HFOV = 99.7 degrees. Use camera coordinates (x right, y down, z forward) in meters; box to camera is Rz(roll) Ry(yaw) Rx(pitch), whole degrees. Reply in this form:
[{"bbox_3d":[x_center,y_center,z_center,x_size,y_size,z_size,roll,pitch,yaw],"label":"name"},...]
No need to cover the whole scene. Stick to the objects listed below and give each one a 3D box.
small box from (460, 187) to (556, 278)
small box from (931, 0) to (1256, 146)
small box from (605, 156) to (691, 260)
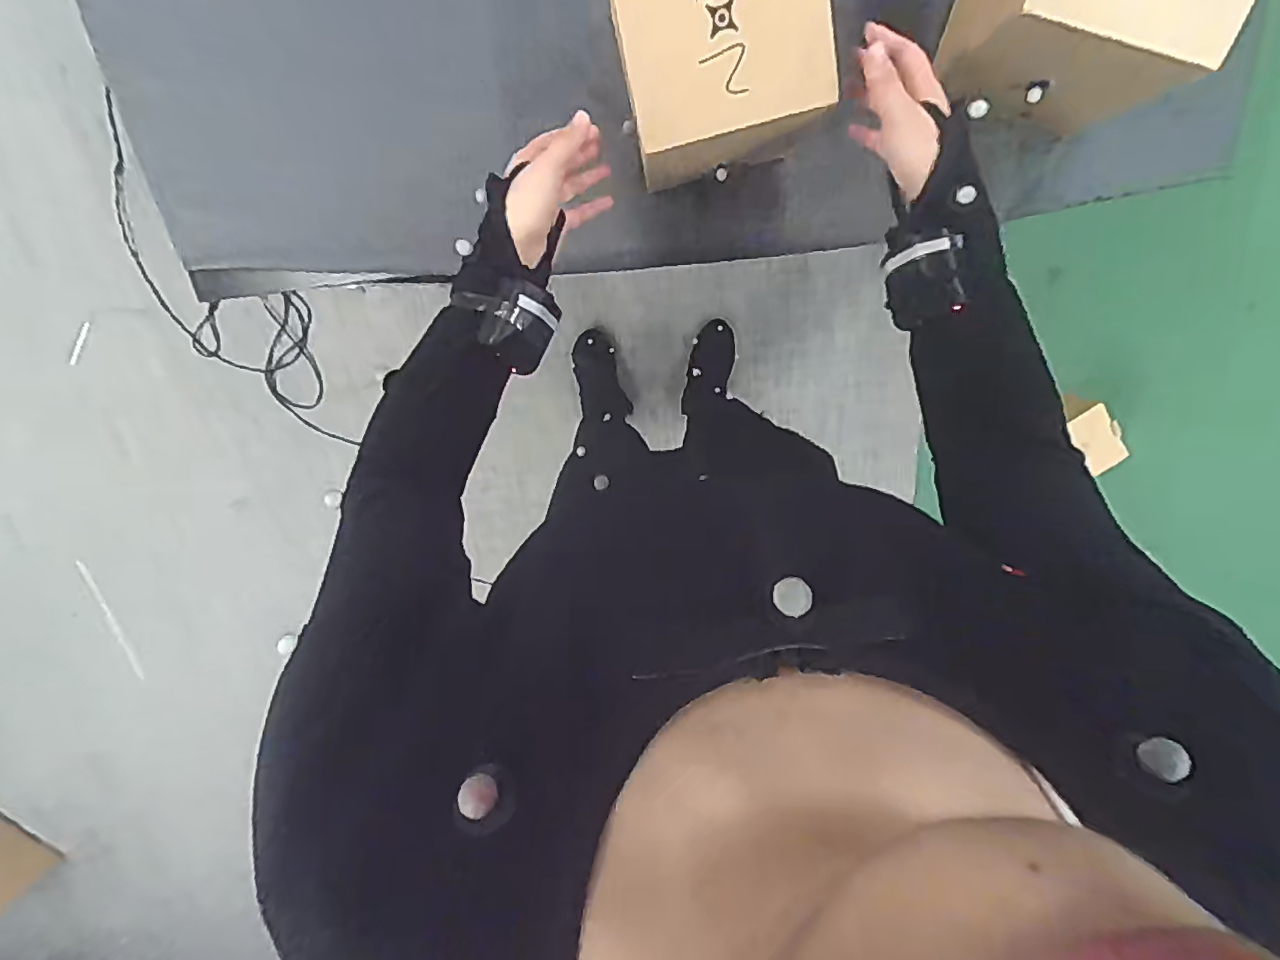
[{"bbox_3d":[-0.291,-0.555,1.232,0.168,0.176,0.179,-1,109,3],"label":"small box"},{"bbox_3d":[0.389,-0.423,0.469,0.168,0.176,0.179,15,107,-3],"label":"small box"},{"bbox_3d":[0.024,-0.593,1.203,0.168,0.176,0.179,-7,108,5],"label":"small box"}]
